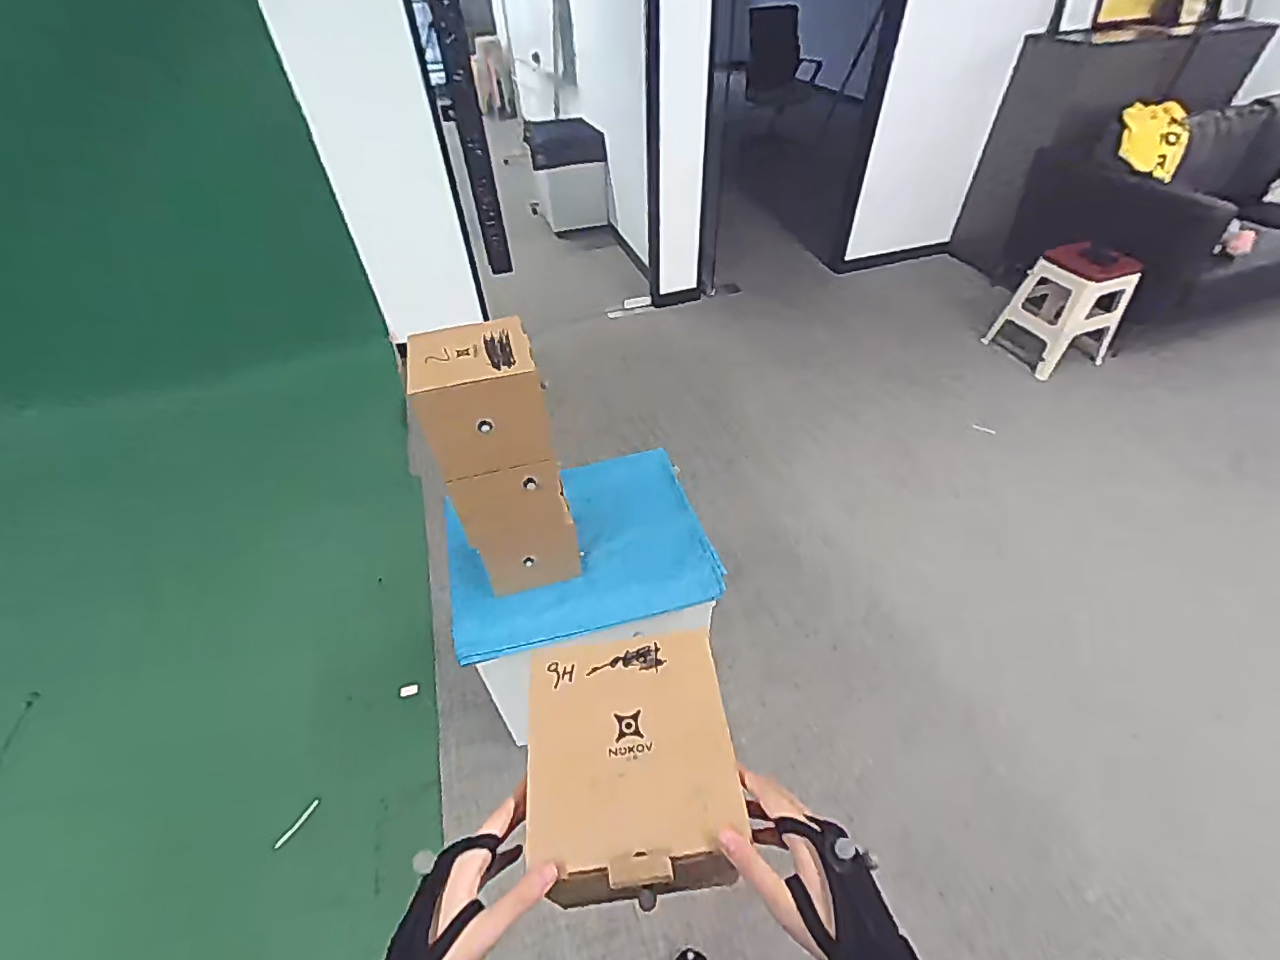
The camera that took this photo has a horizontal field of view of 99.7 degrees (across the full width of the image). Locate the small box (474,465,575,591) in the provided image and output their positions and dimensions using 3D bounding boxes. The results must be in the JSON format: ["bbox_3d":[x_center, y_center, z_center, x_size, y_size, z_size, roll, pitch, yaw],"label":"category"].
[{"bbox_3d":[-0.229,0.092,1.070,0.179,0.176,0.168,-13,46,-11],"label":"small box"}]

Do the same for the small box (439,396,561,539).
[{"bbox_3d":[-0.240,-0.021,0.950,0.179,0.176,0.168,-13,46,-11],"label":"small box"}]
